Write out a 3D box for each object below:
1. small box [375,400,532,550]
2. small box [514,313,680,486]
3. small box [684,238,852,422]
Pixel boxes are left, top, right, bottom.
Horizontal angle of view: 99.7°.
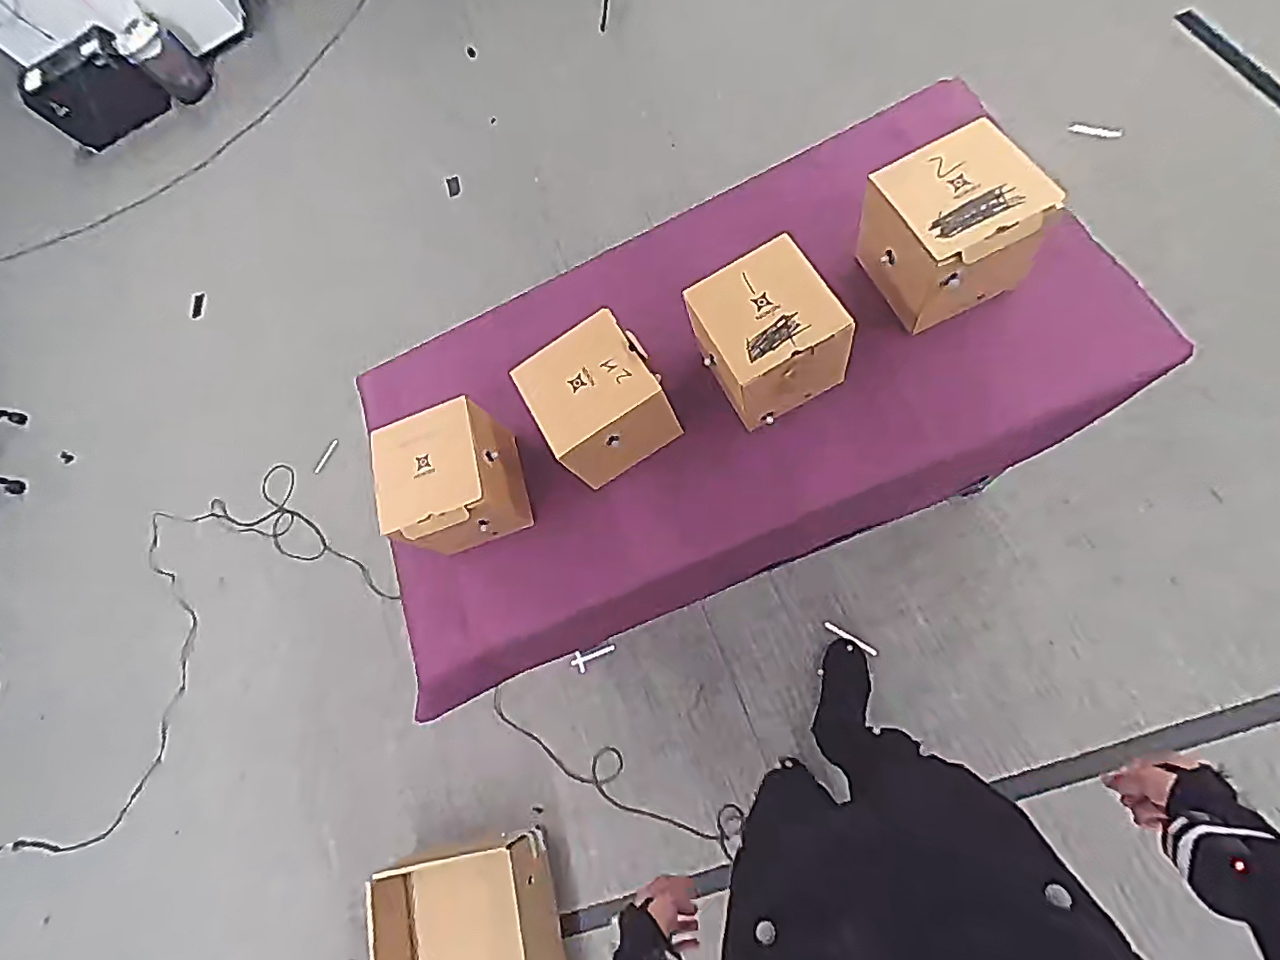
[{"bbox_3d":[-0.289,0.005,0.864,0.168,0.176,0.179,-19,69,8],"label":"small box"},{"bbox_3d":[-0.058,-0.113,0.837,0.179,0.176,0.168,-33,69,3],"label":"small box"},{"bbox_3d":[0.188,-0.206,0.799,0.168,0.176,0.179,-29,68,5],"label":"small box"}]
